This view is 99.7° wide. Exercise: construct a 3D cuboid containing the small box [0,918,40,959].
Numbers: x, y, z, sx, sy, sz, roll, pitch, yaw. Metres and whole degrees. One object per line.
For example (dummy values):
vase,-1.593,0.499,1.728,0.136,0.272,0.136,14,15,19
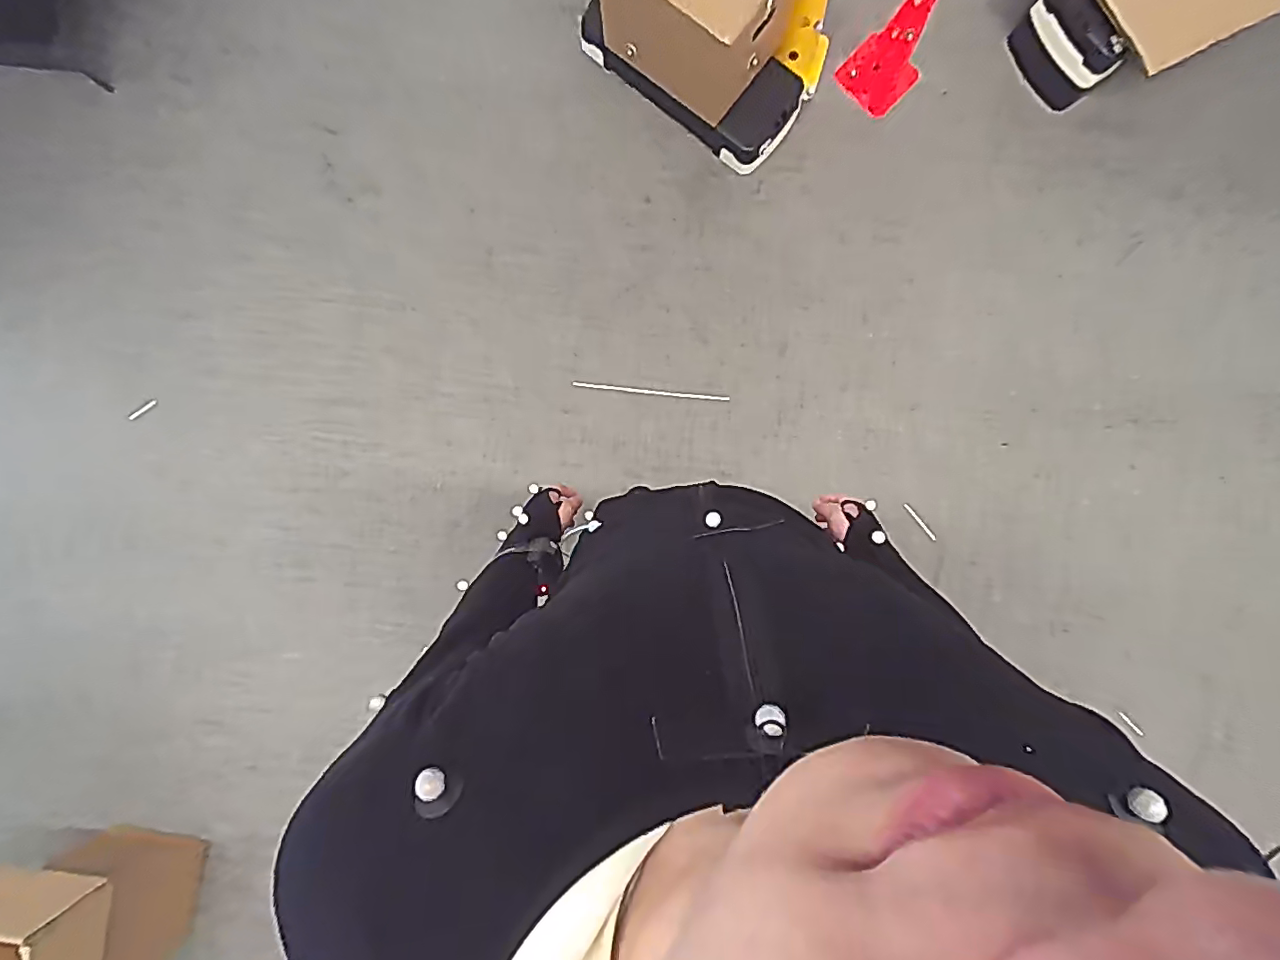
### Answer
small box,-1.467,1.075,1.151,0.179,0.176,0.168,9,89,0
